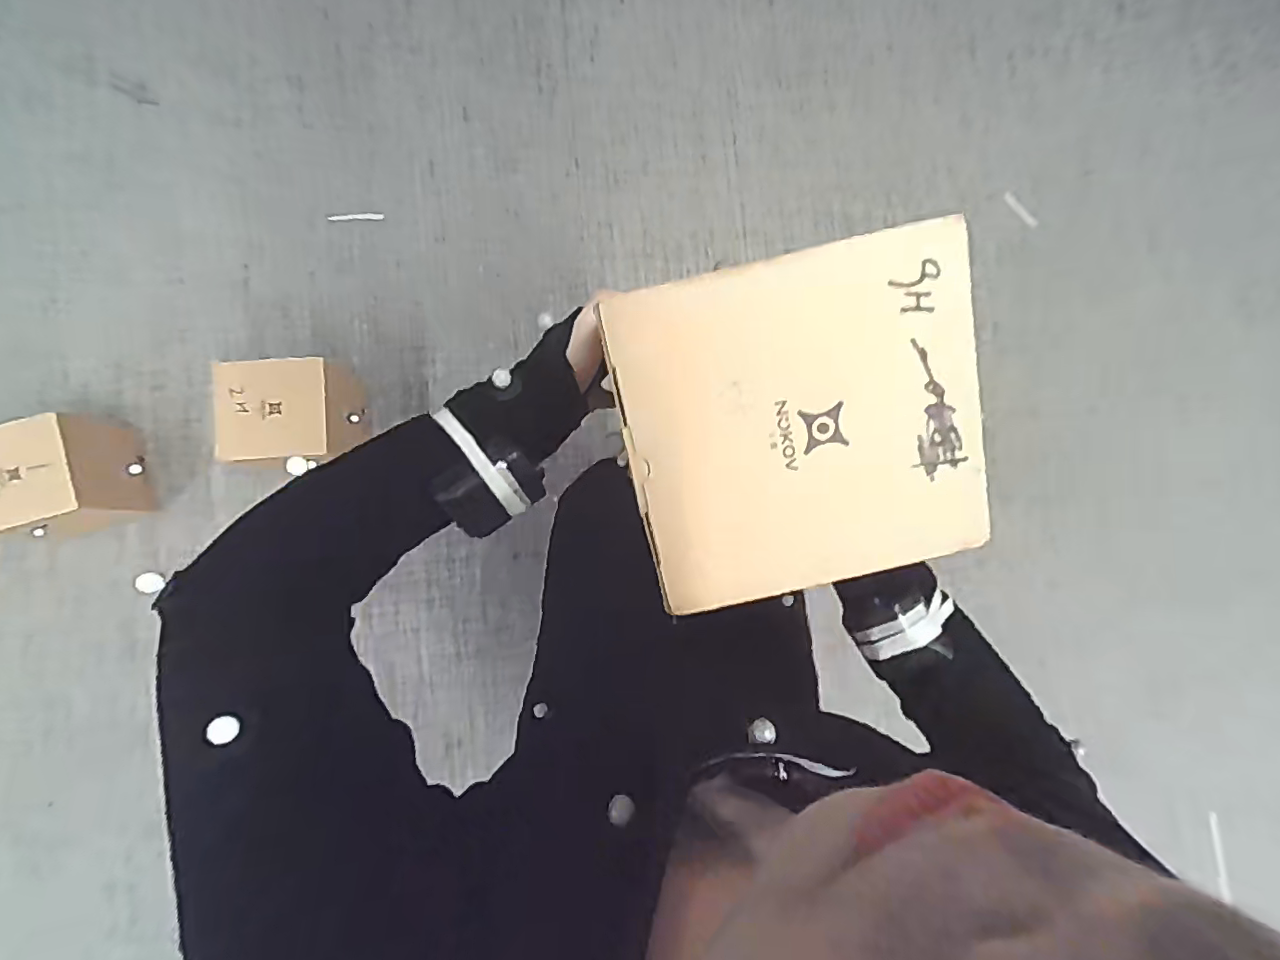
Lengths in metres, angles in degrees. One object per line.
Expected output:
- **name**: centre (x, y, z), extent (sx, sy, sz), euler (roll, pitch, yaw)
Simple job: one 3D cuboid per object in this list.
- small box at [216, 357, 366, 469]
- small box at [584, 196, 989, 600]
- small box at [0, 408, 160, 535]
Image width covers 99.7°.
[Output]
- **small box**: centre (-0.605, -0.112, 0.961), extent (0.179, 0.176, 0.168), euler (-4, 84, -5)
- **small box**: centre (0.075, -0.049, 0.339), extent (0.179, 0.176, 0.168), euler (-13, 103, 2)
- **small box**: centre (-0.987, -0.006, 0.921), extent (0.179, 0.176, 0.168), euler (-16, 86, -6)
